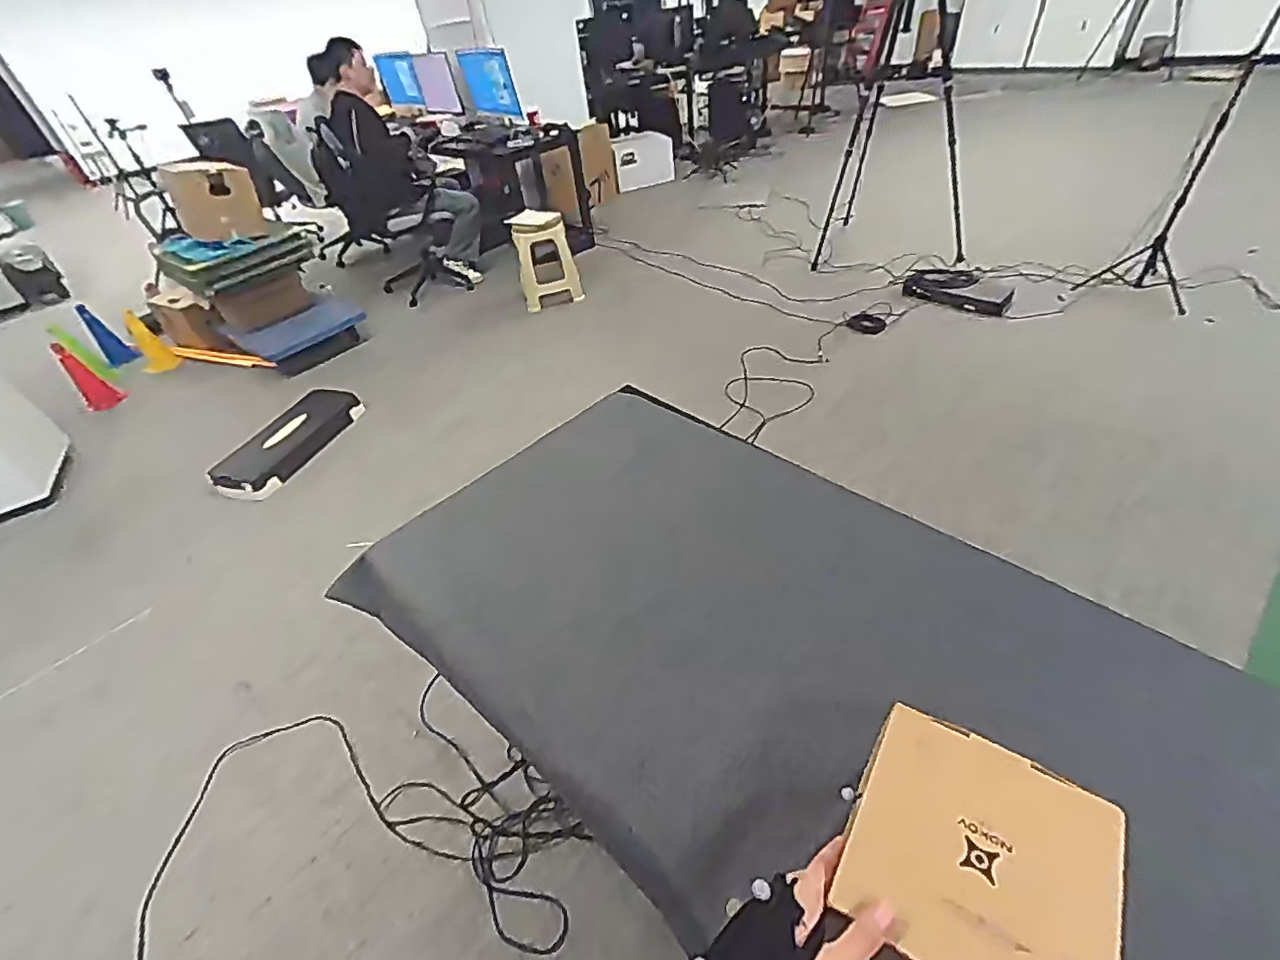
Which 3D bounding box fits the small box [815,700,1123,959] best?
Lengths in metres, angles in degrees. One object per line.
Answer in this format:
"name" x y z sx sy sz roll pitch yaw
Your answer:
"small box" 0.256 0.330 0.446 0.168 0.176 0.179 20 49 29
